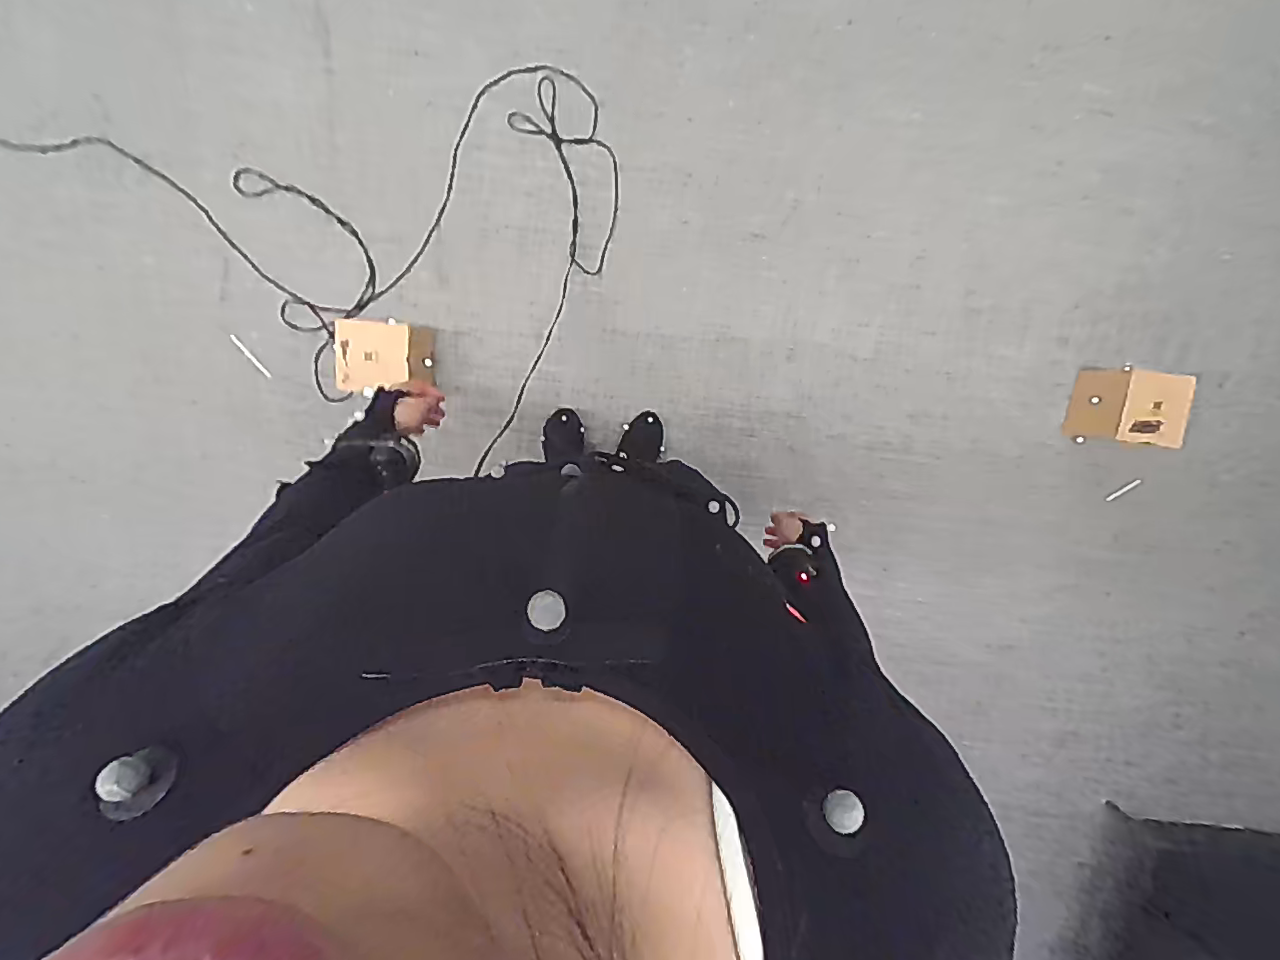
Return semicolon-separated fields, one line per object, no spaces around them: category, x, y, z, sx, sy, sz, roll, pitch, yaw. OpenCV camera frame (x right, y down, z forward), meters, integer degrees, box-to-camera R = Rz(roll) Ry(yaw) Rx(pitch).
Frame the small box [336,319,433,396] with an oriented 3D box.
small box;-0.626;-0.301;1.346;0.179;0.176;0.168;4;100;-3

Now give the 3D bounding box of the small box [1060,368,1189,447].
small box;1.246;-0.191;1.406;0.168;0.176;0.179;7;99;-2
